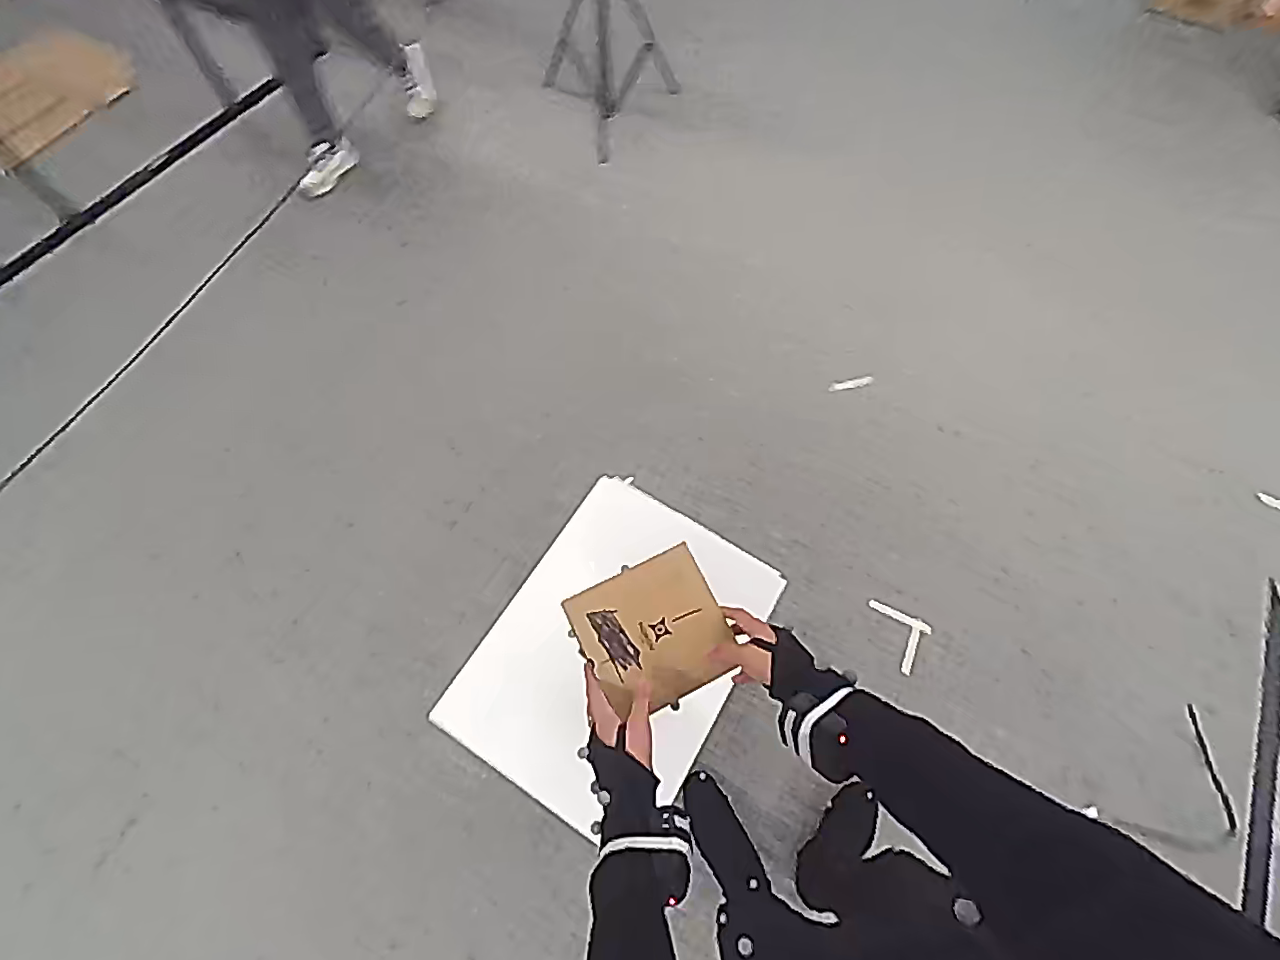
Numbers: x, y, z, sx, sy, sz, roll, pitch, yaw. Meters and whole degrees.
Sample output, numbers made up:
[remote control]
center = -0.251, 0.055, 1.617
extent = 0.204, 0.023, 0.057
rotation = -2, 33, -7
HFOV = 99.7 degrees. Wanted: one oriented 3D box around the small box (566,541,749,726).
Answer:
[small box]
center = 0.018, 0.206, 0.728
extent = 0.179, 0.176, 0.168
rotation = -24, 75, -11
